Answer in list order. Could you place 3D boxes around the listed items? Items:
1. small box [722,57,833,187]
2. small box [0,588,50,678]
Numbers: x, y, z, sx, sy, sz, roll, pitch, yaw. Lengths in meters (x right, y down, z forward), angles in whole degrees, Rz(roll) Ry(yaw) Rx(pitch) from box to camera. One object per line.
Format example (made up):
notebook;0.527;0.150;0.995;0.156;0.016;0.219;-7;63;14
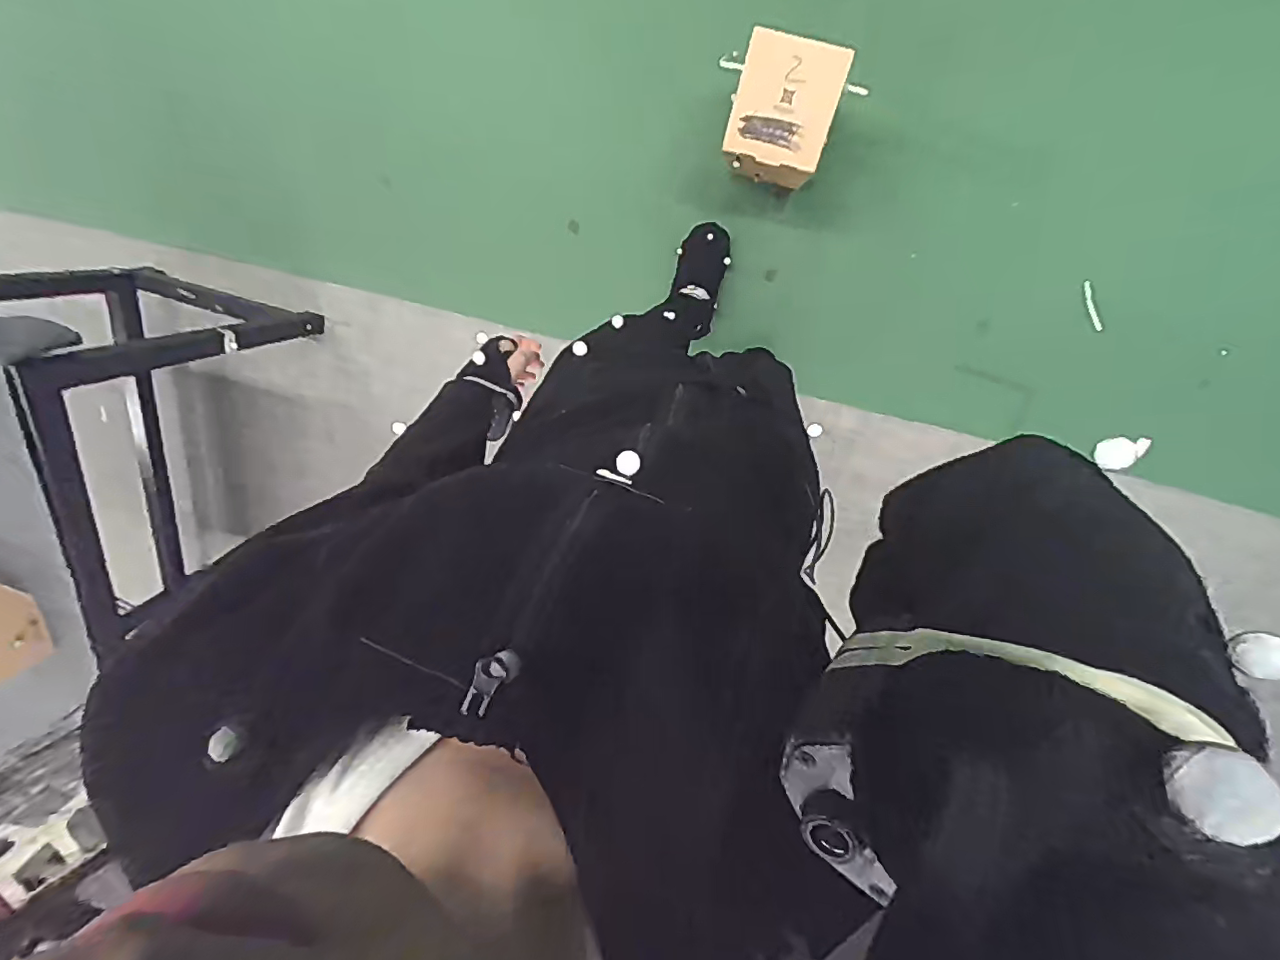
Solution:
small box;0.273;-0.720;1.107;0.168;0.176;0.179;17;117;3
small box;-1.389;0.324;1.104;0.179;0.176;0.168;15;117;5
